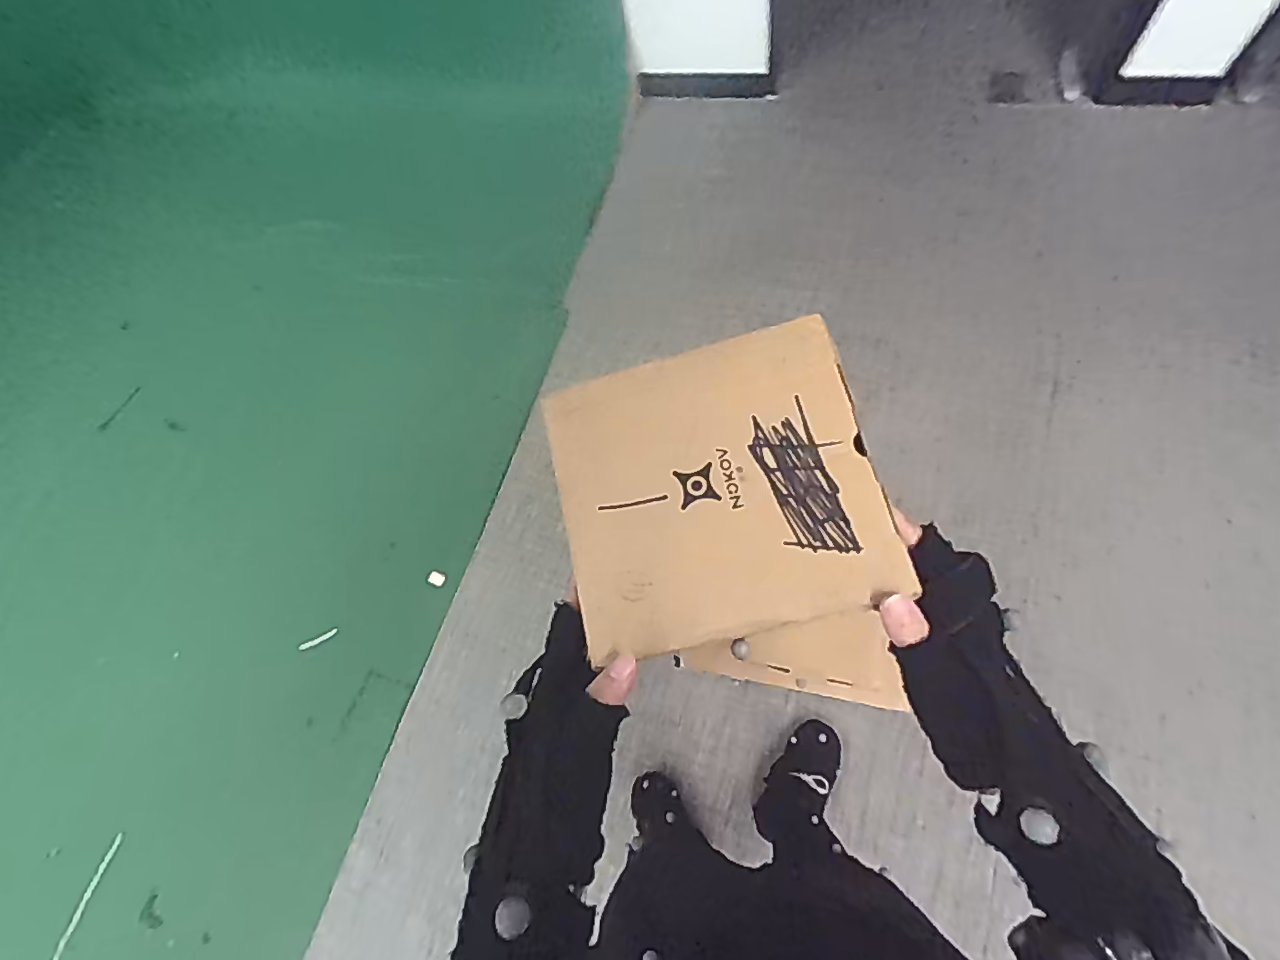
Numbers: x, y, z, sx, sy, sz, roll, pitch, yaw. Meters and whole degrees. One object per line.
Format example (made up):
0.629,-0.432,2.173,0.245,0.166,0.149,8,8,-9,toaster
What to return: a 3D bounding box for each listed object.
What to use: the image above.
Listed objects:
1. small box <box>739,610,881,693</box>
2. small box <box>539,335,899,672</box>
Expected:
0.241,0.189,0.769,0.168,0.176,0.179,8,74,15,small box
0.049,0.028,0.387,0.179,0.176,0.168,-15,74,6,small box
